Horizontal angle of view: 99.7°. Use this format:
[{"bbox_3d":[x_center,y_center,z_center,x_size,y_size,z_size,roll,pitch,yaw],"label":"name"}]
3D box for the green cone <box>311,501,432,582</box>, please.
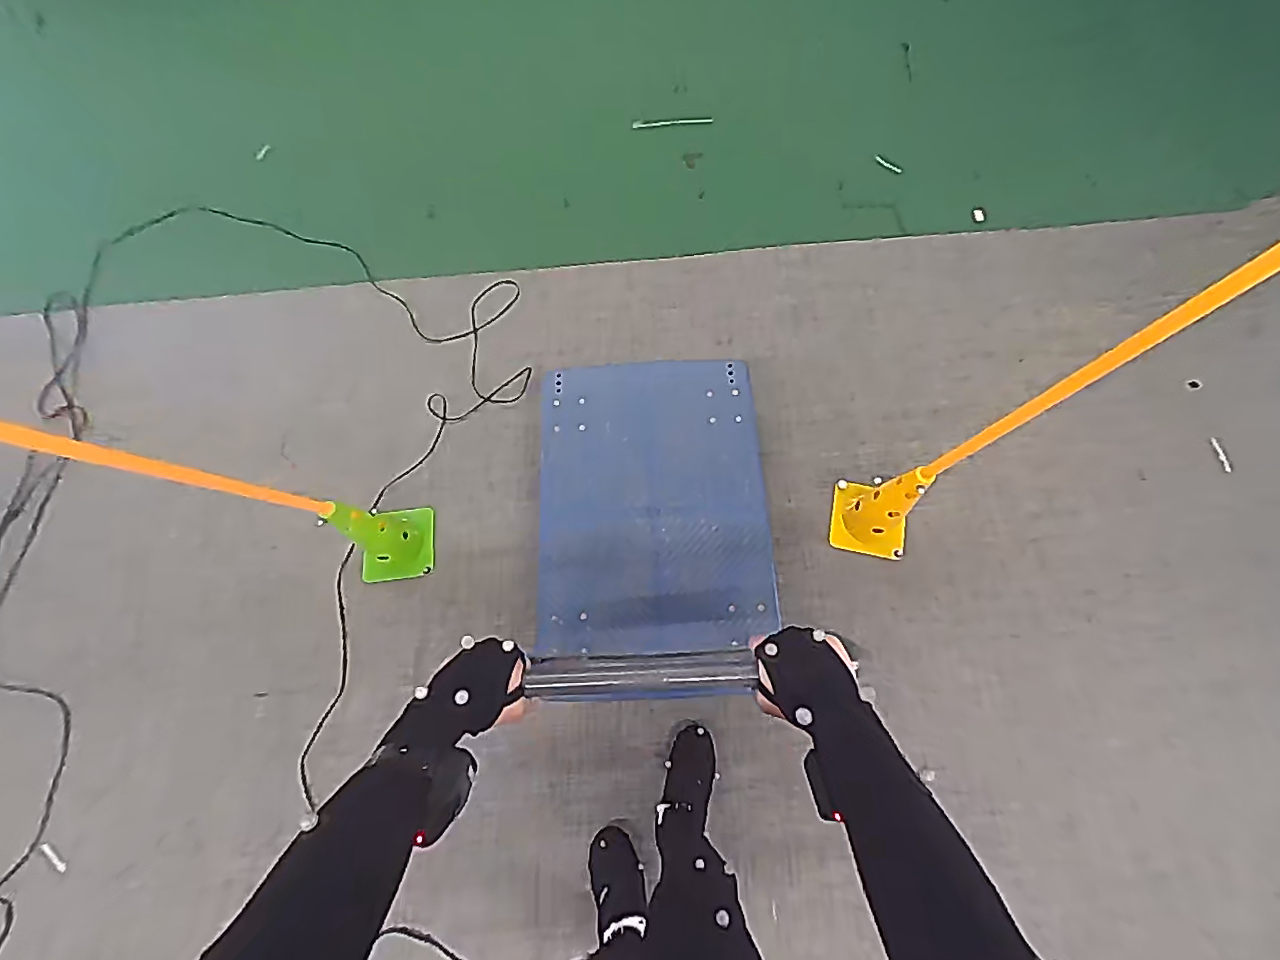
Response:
[{"bbox_3d":[-0.703,0.122,1.381,0.202,0.368,0.200,-9,69,1],"label":"green cone"}]
